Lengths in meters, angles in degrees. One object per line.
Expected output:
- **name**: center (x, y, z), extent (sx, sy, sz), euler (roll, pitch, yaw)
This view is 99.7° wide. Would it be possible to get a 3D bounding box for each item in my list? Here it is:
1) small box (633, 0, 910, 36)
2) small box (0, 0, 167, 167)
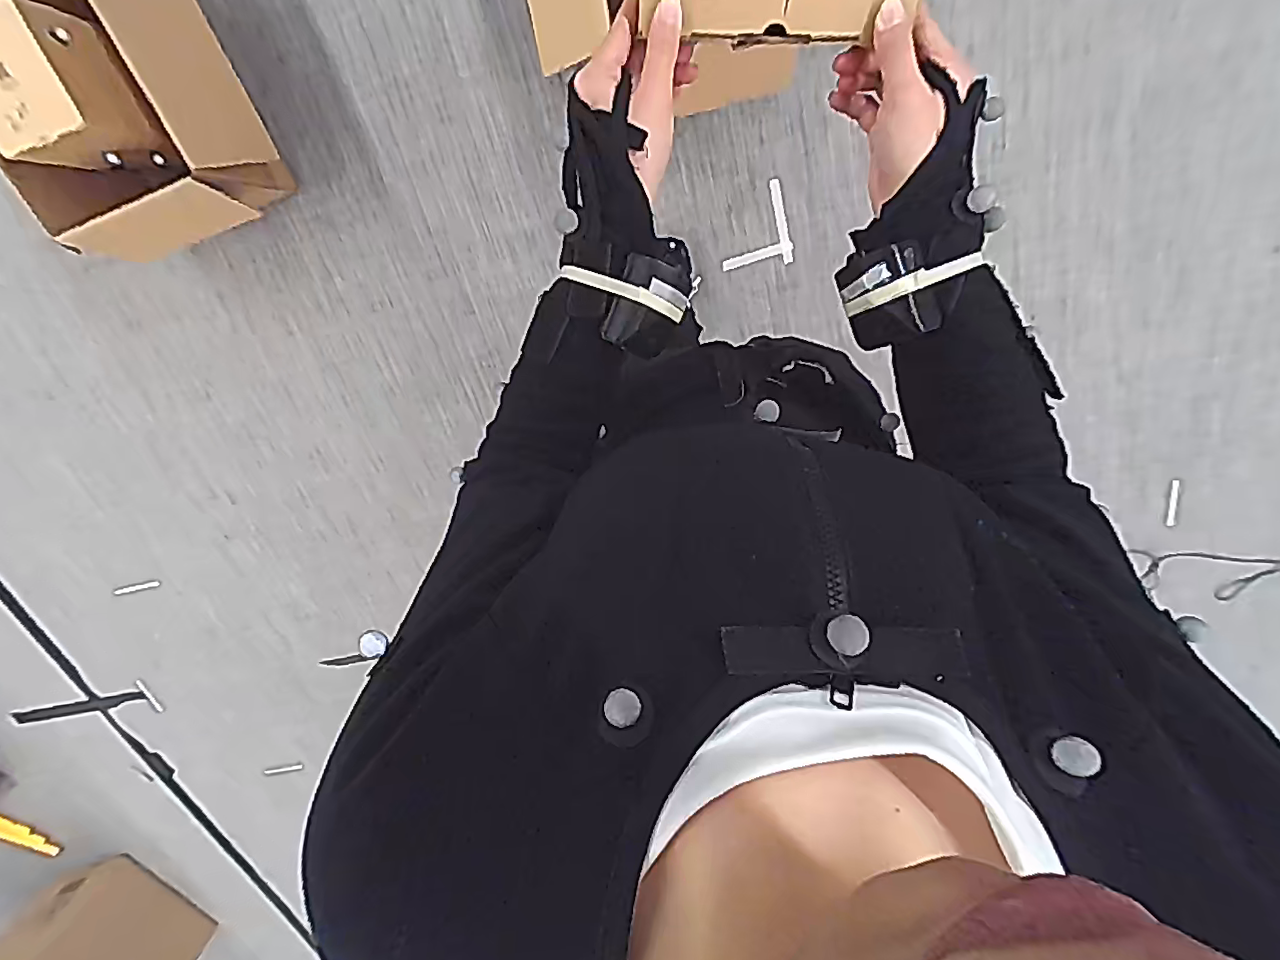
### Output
- **small box**: center (0.082, -0.391, 0.335), extent (0.168, 0.176, 0.179), euler (1, 128, 0)
- **small box**: center (-0.965, -0.648, 0.899), extent (0.168, 0.176, 0.179), euler (-14, 112, 8)
